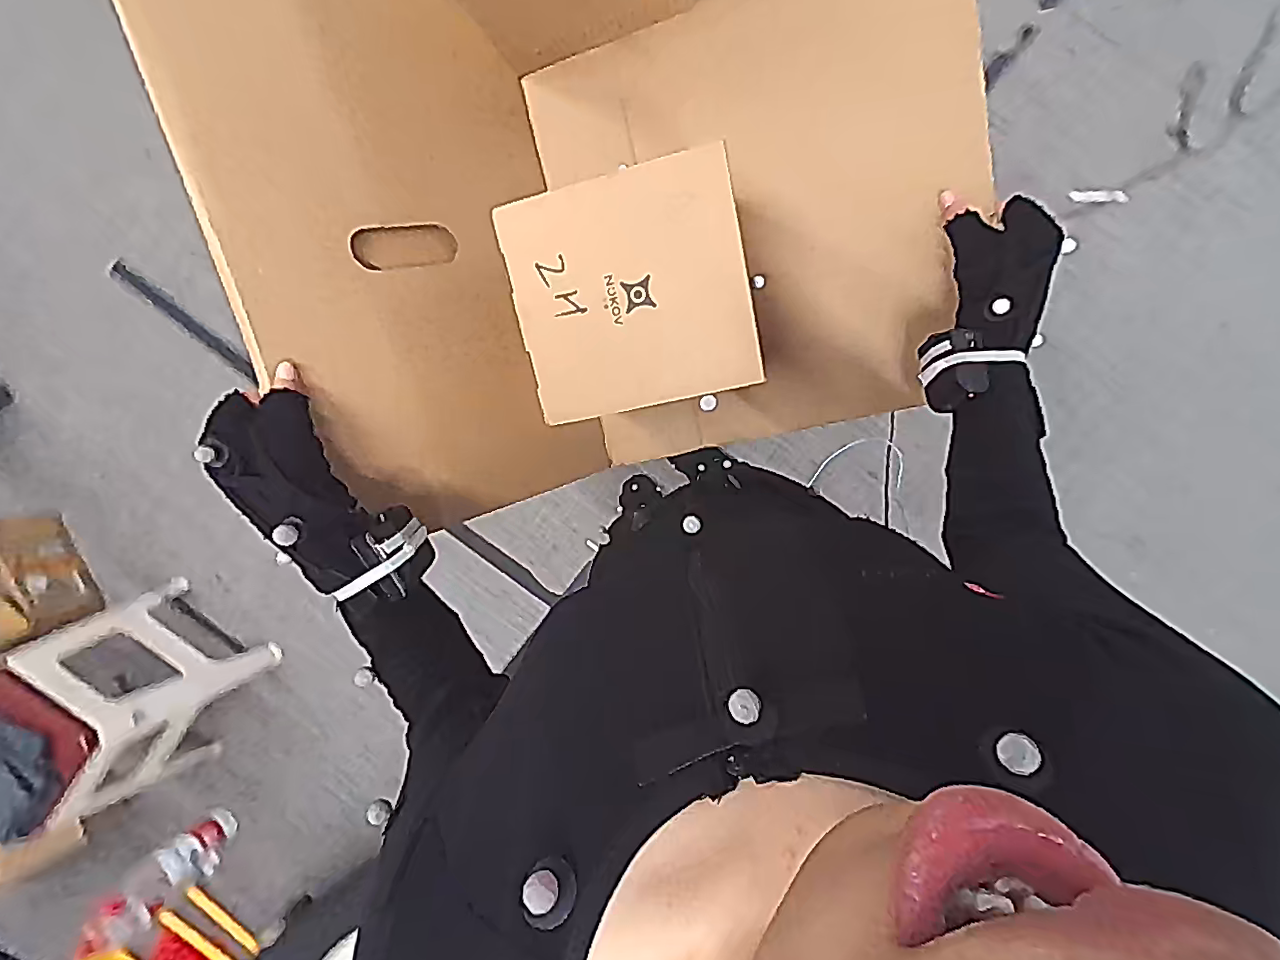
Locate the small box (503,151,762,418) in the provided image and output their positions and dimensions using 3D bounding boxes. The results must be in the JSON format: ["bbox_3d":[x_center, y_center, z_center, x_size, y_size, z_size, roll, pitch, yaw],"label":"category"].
[{"bbox_3d":[0.007,-0.159,0.483,0.179,0.176,0.168,-8,102,13],"label":"small box"}]
